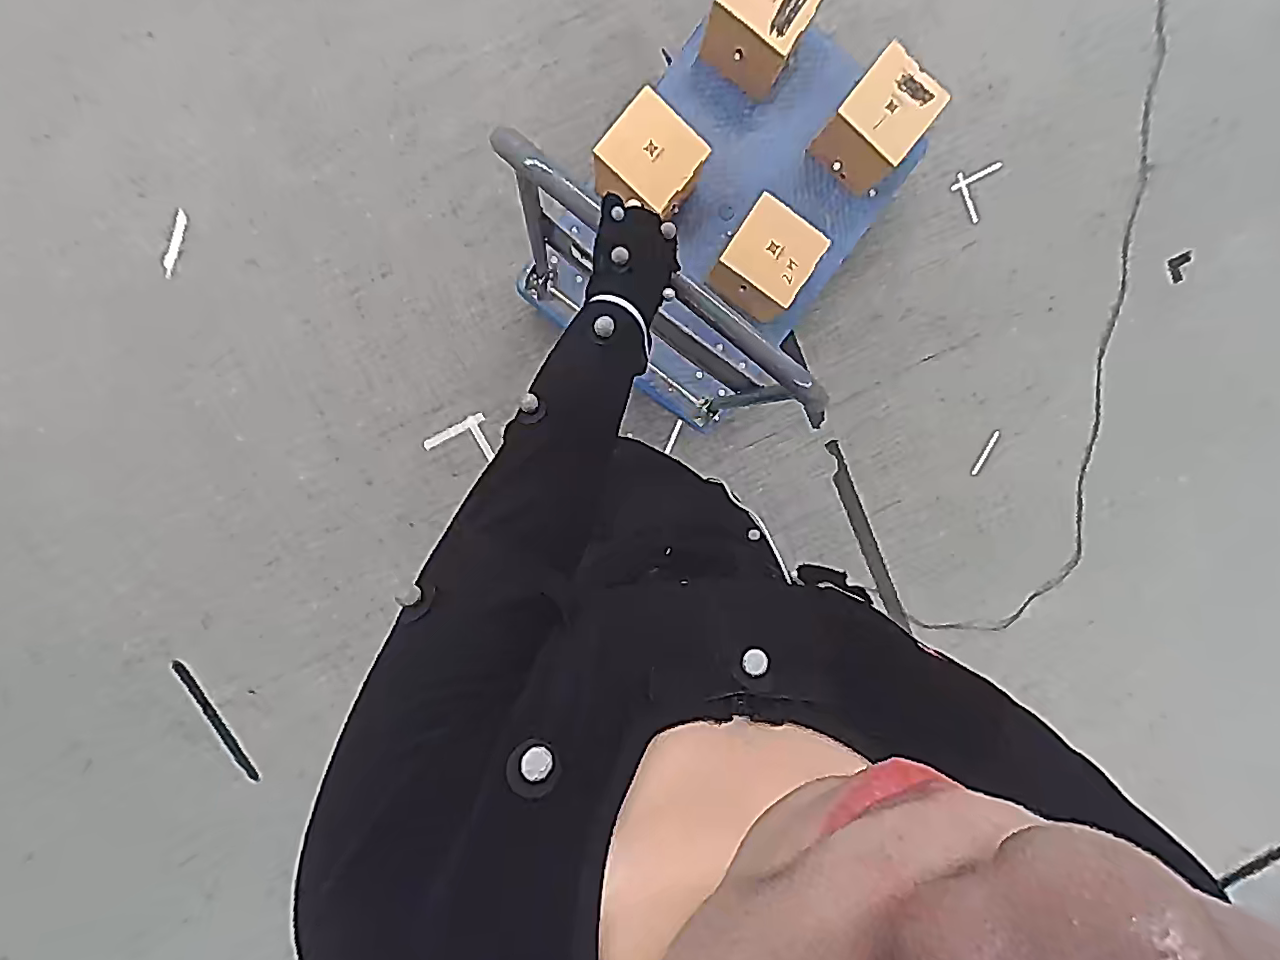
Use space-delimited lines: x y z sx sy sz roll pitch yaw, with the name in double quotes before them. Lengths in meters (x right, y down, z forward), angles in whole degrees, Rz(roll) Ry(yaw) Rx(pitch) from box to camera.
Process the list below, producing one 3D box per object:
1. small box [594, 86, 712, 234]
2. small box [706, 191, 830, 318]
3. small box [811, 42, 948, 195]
"small box" 0.017 -0.654 1.132 0.179 0.176 0.168 40 92 -10
"small box" 0.266 -0.475 1.175 0.179 0.176 0.168 34 94 -8
"small box" 0.500 -0.760 1.159 0.168 0.176 0.179 38 94 -8
